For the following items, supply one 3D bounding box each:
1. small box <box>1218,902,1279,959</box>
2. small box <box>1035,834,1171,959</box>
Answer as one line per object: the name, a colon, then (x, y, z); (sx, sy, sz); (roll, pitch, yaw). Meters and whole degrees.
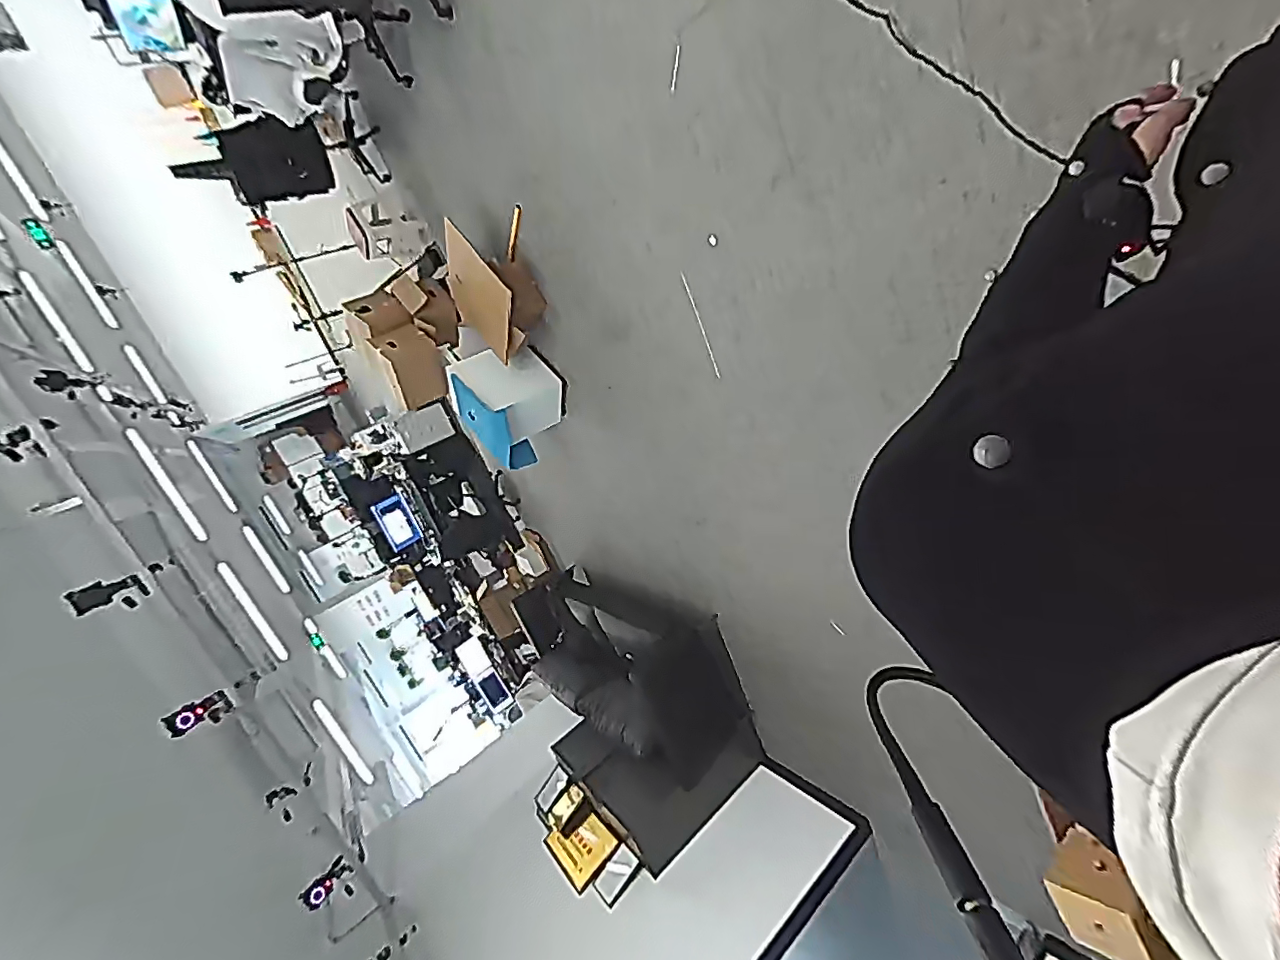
small box: (1.195, 0.938, 0.989); (0.168, 0.176, 0.179); (-5, 113, 58)
small box: (1.050, 0.958, 1.228); (0.179, 0.176, 0.168); (62, 152, -4)
